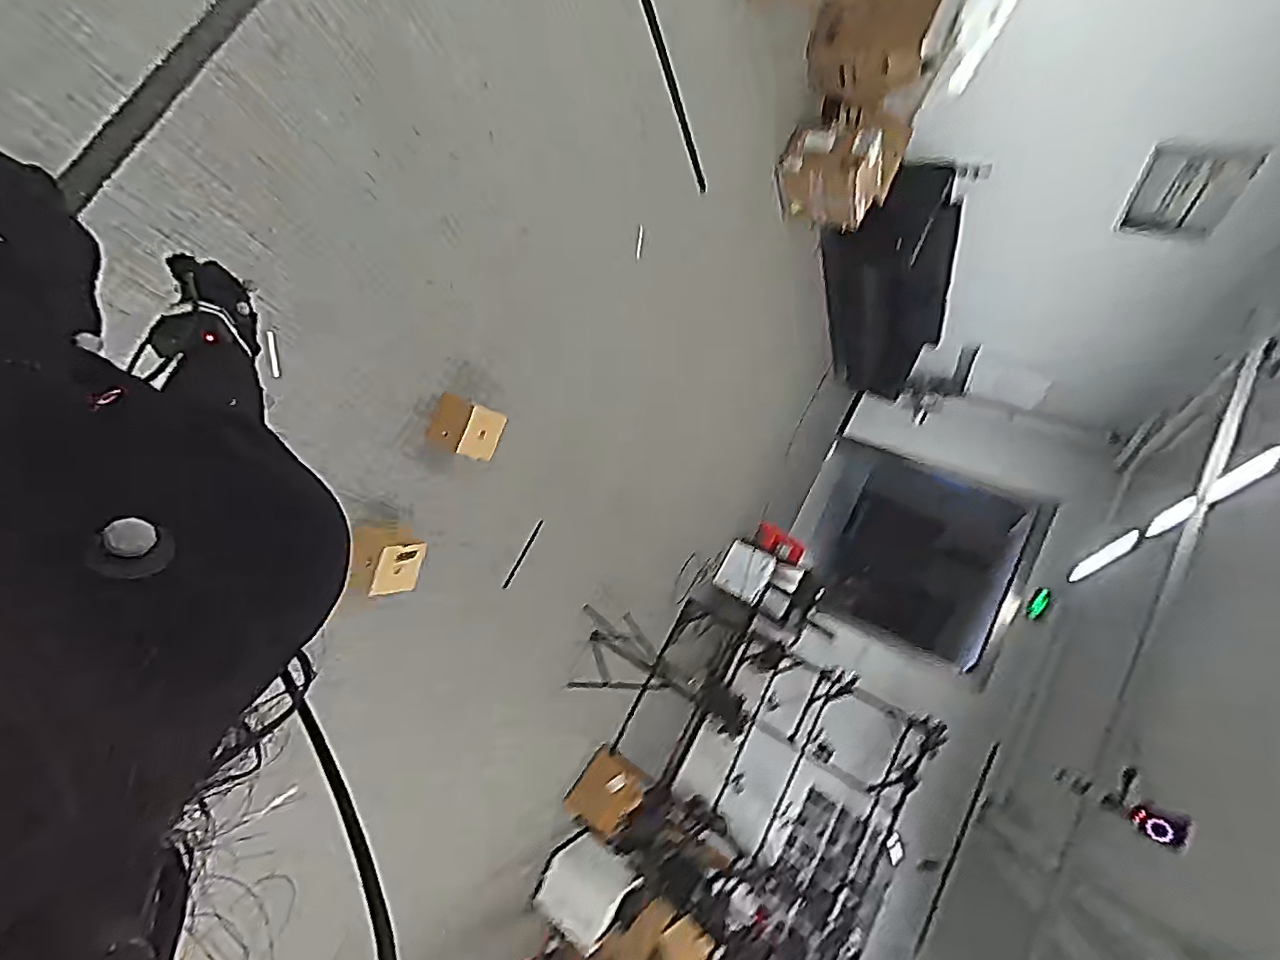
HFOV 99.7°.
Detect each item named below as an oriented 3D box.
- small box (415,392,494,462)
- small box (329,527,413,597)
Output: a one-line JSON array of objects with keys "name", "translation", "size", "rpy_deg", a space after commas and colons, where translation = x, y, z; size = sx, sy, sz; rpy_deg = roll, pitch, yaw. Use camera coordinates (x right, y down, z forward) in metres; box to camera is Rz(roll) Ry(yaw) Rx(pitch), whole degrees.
[{"name": "small box", "translation": [-0.647, -0.183, 1.878], "size": [0.168, 0.176, 0.179], "rpy_deg": [19, 93, -63]}, {"name": "small box", "translation": [-0.892, 0.264, 1.786], "size": [0.168, 0.176, 0.179], "rpy_deg": [8, 104, -61]}]
